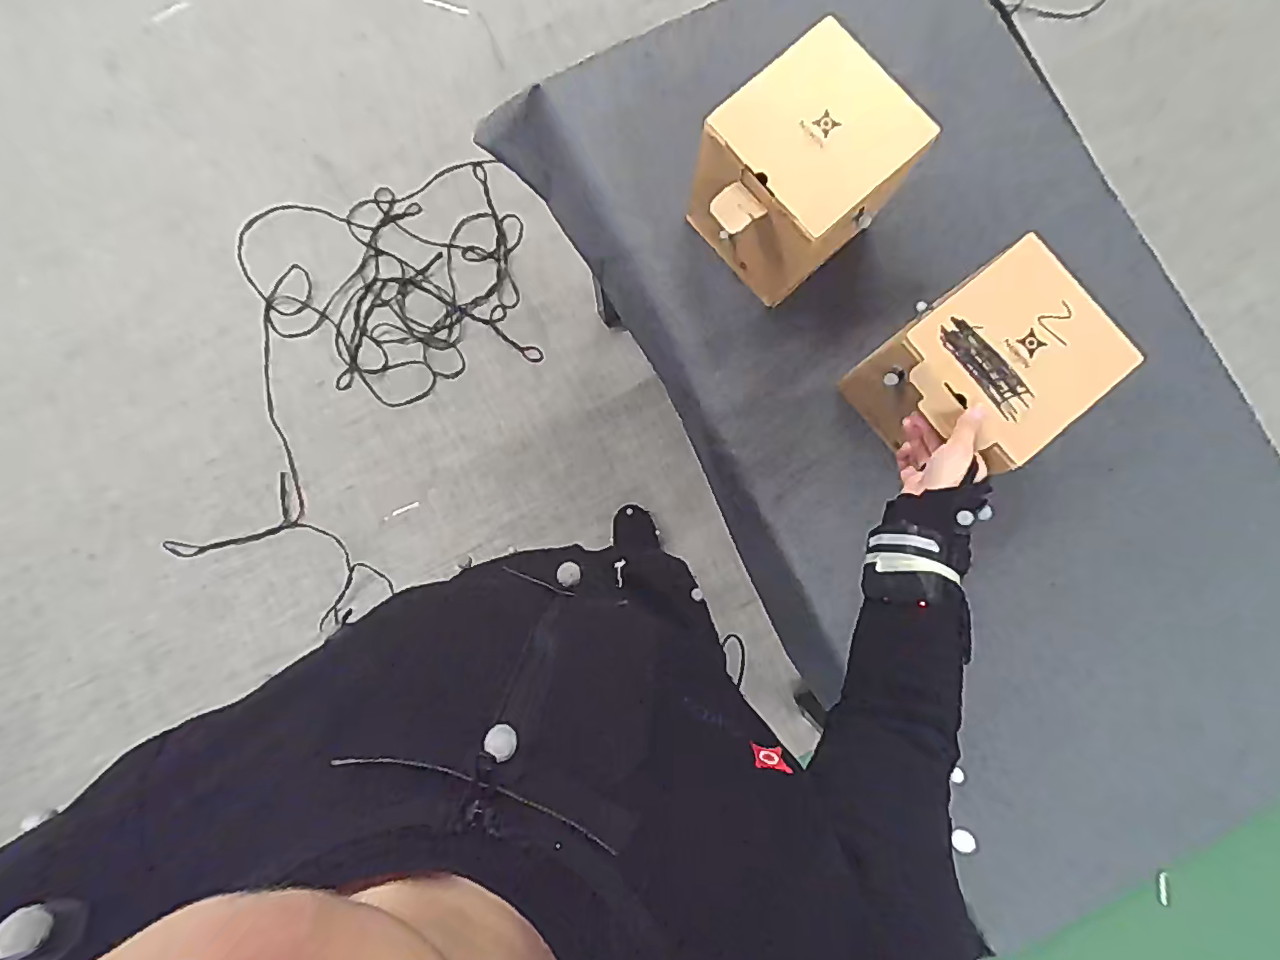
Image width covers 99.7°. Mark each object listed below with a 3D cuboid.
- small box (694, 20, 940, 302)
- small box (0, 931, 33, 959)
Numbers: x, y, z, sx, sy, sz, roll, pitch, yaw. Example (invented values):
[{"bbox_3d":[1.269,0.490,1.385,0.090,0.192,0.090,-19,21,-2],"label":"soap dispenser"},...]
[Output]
[{"bbox_3d":[0.180,-0.341,0.612,0.179,0.176,0.168,-42,88,-3],"label":"small box"},{"bbox_3d":[-1.529,1.144,1.201,0.168,0.176,0.179,10,87,1],"label":"small box"}]
